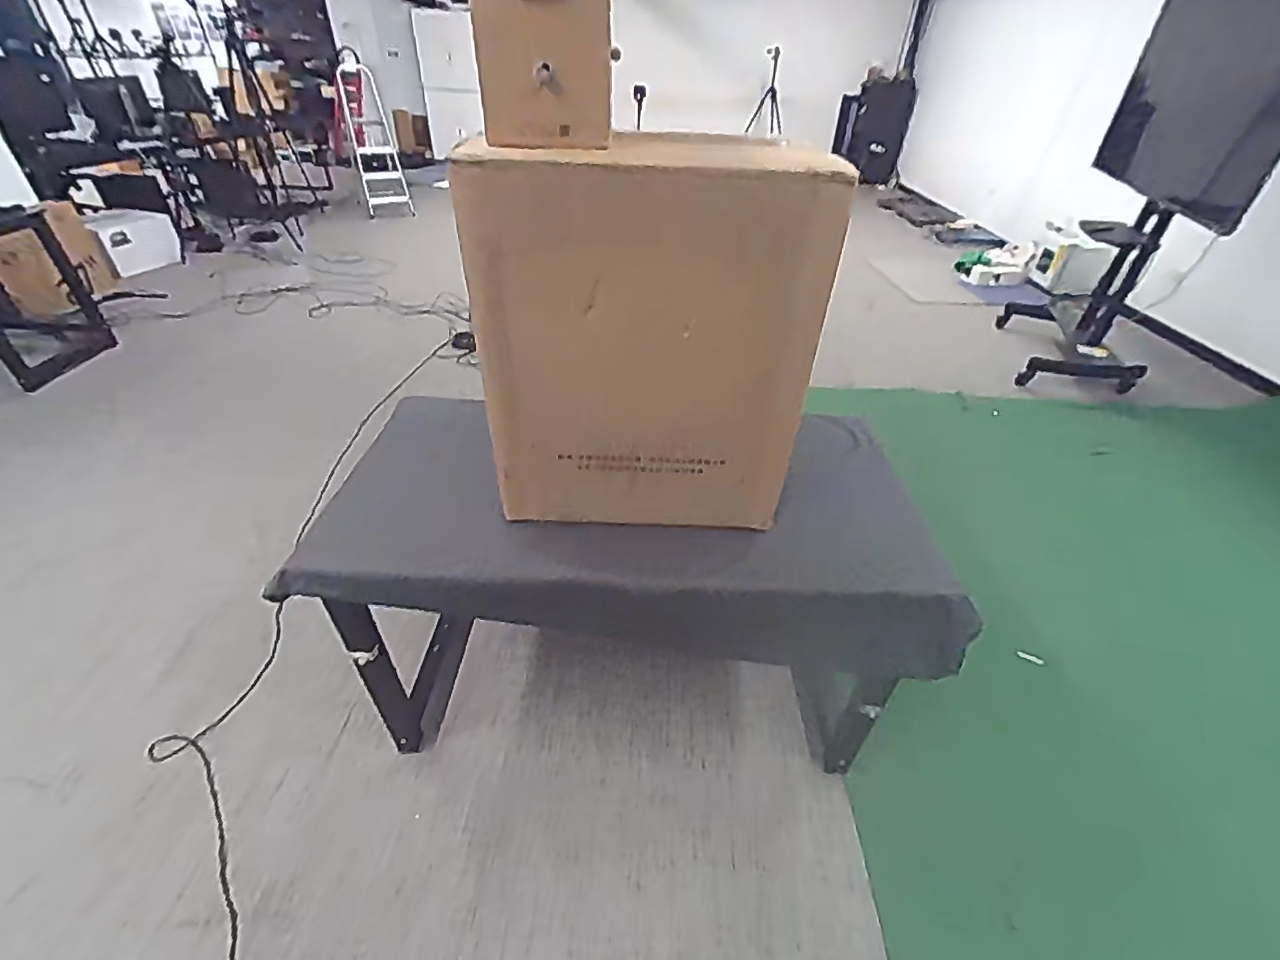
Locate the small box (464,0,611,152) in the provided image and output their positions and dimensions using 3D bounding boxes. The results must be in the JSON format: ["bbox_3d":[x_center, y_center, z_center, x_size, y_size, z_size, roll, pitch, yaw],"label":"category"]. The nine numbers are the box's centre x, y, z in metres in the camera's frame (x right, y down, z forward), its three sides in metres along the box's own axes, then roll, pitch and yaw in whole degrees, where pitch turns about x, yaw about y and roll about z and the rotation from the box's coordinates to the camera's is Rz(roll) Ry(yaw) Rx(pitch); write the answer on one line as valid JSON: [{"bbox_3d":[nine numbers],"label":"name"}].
[{"bbox_3d":[-0.125,-0.557,0.735,0.168,0.176,0.179,-1,41,-2],"label":"small box"}]
